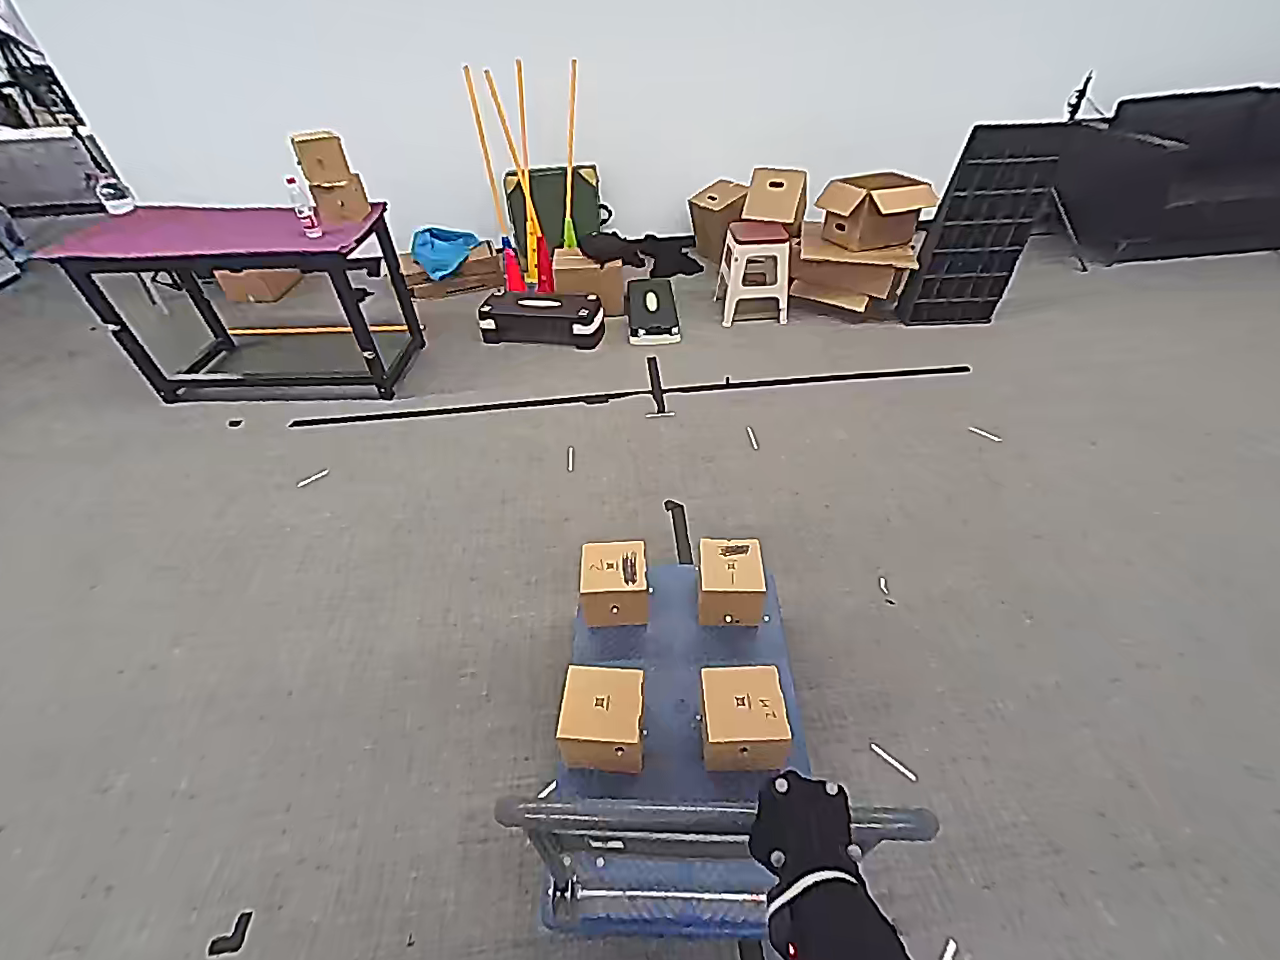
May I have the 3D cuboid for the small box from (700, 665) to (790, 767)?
[{"bbox_3d":[0.229,0.538,1.230,0.179,0.176,0.168,-1,43,1],"label":"small box"}]

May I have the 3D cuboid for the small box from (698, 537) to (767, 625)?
[{"bbox_3d":[0.250,0.280,1.503,0.168,0.176,0.179,1,44,3],"label":"small box"}]

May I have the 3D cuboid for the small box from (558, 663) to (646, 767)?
[{"bbox_3d":[-0.080,0.540,1.239,0.179,0.176,0.168,3,43,3],"label":"small box"}]
